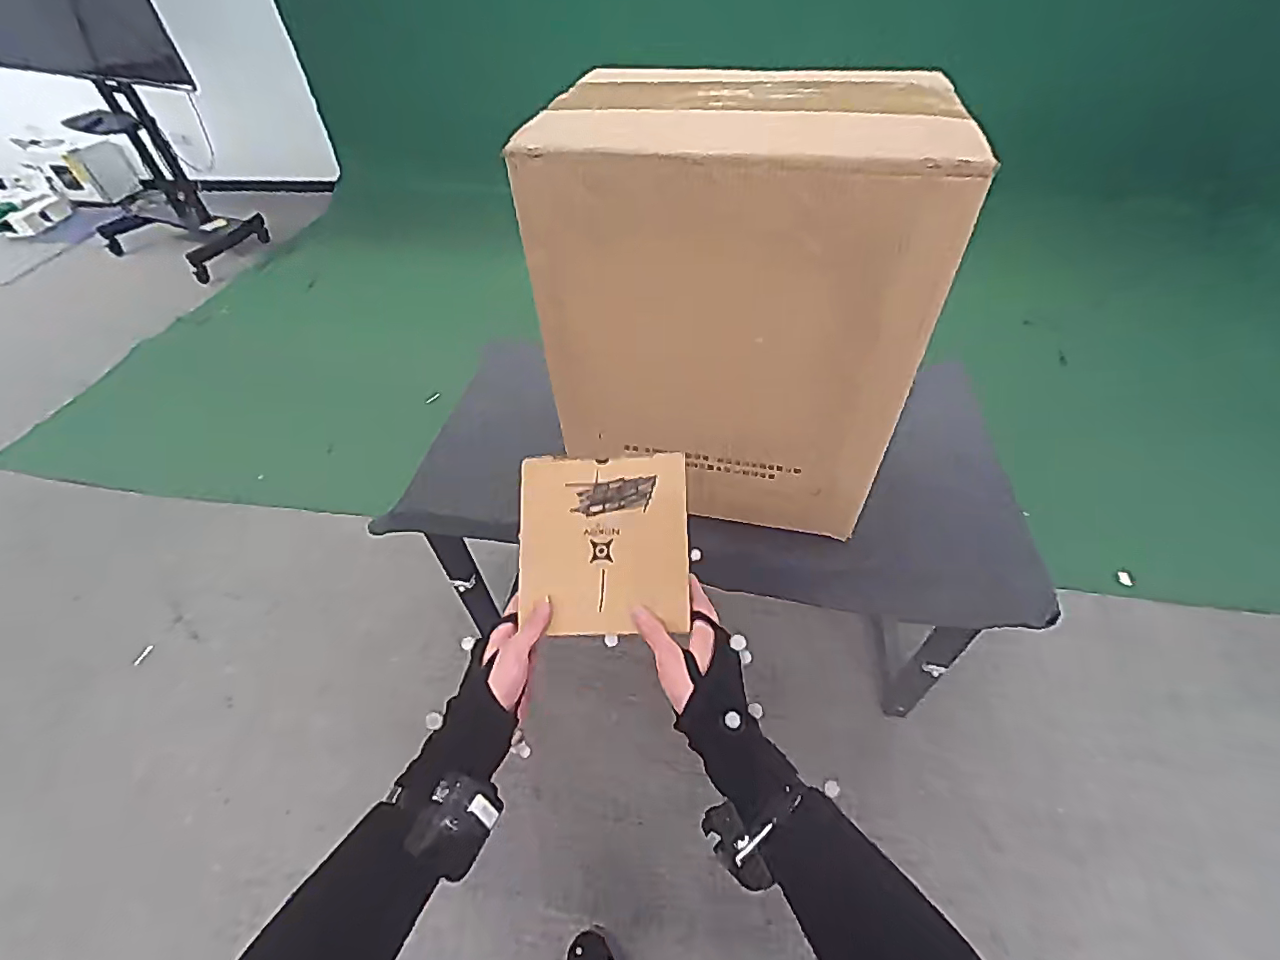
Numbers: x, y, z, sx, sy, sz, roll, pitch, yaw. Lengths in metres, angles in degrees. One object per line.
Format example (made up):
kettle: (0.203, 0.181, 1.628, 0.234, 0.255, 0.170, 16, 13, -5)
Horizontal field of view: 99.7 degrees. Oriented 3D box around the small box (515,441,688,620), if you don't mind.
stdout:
small box: (-0.034, 0.064, 0.604, 0.168, 0.176, 0.179, -1, 78, 3)
